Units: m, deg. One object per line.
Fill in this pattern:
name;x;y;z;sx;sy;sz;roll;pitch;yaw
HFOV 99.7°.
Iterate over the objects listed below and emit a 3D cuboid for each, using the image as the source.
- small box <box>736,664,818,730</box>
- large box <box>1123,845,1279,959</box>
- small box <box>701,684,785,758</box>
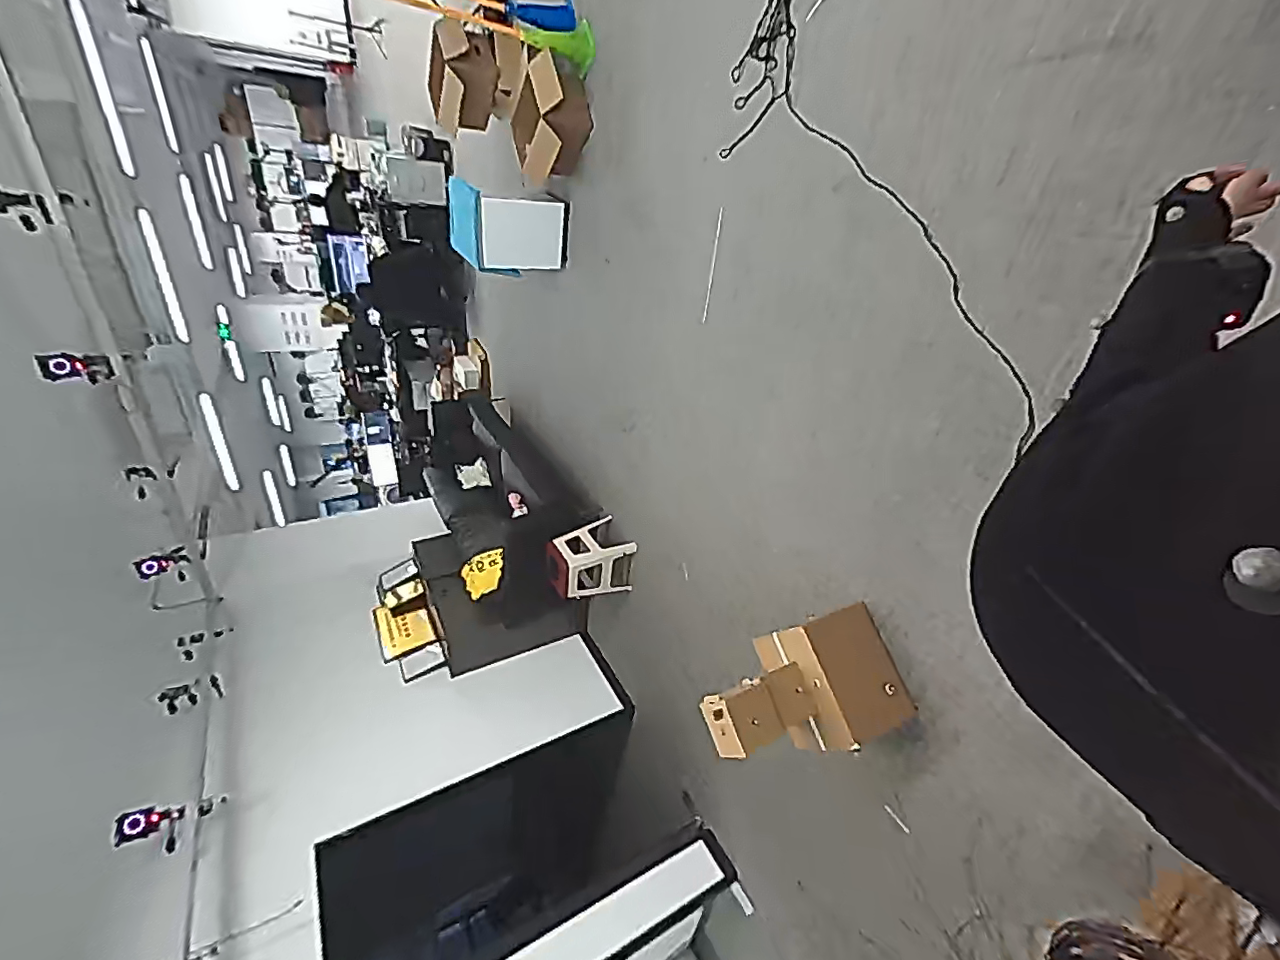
small box;0.465;0.743;1.841;0.179;0.176;0.168;67;151;21
large box;1.255;1.058;1.069;0.408;0.320;0.320;27;124;53
small box;0.333;0.774;1.747;0.179;0.176;0.168;67;150;16
